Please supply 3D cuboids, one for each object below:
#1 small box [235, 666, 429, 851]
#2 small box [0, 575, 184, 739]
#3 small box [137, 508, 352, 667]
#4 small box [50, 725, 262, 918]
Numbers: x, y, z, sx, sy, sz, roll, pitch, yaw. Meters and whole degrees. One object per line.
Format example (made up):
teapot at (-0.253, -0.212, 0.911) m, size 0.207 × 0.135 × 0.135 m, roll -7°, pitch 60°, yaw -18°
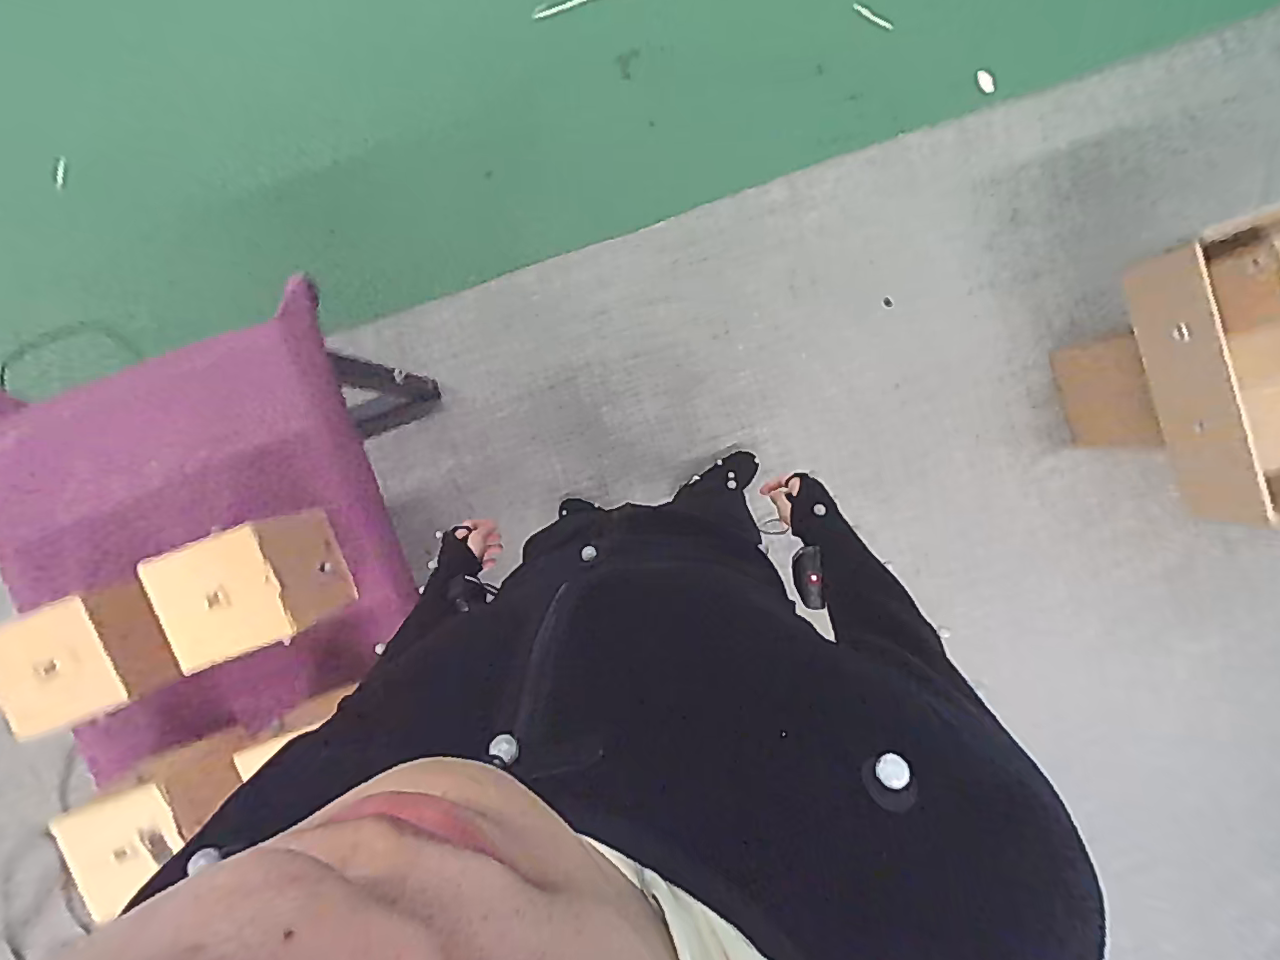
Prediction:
small box at (-0.467, 0.423, 0.848) m, size 0.179 × 0.176 × 0.168 m, roll -21°, pitch 95°, yaw 2°
small box at (-0.831, 0.256, 0.835) m, size 0.179 × 0.176 × 0.168 m, roll -22°, pitch 95°, yaw 0°
small box at (-0.588, 0.153, 0.828) m, size 0.179 × 0.176 × 0.168 m, roll -21°, pitch 94°, yaw 1°
small box at (-0.734, 0.523, 0.854) m, size 0.179 × 0.176 × 0.168 m, roll -21°, pitch 94°, yaw 1°
